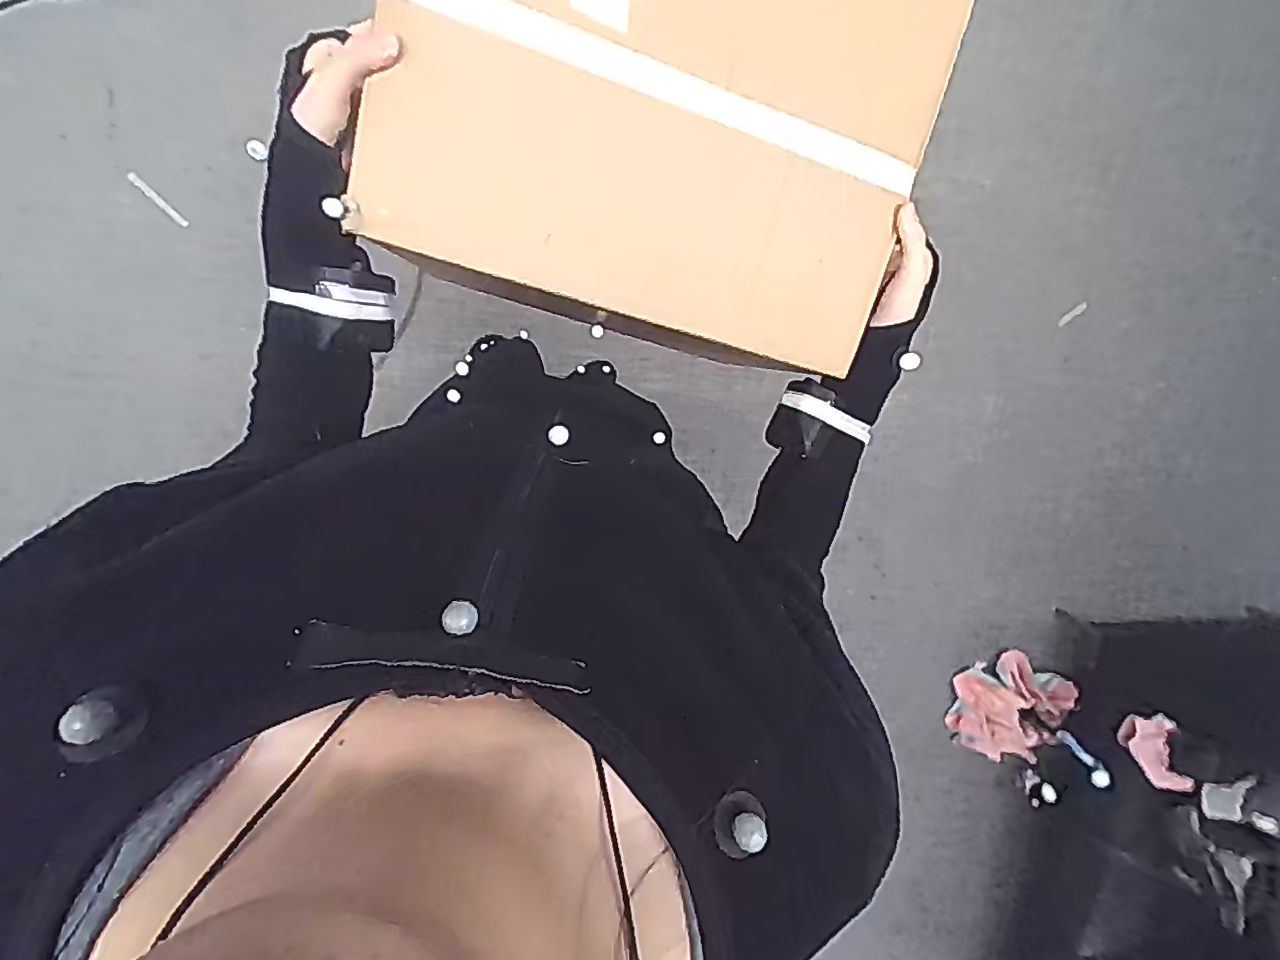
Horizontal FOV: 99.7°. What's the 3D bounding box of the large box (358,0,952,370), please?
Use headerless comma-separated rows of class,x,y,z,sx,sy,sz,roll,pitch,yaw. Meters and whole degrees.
large box,-0.004,-0.318,0.549,0.408,0.320,0.320,13,102,-12
